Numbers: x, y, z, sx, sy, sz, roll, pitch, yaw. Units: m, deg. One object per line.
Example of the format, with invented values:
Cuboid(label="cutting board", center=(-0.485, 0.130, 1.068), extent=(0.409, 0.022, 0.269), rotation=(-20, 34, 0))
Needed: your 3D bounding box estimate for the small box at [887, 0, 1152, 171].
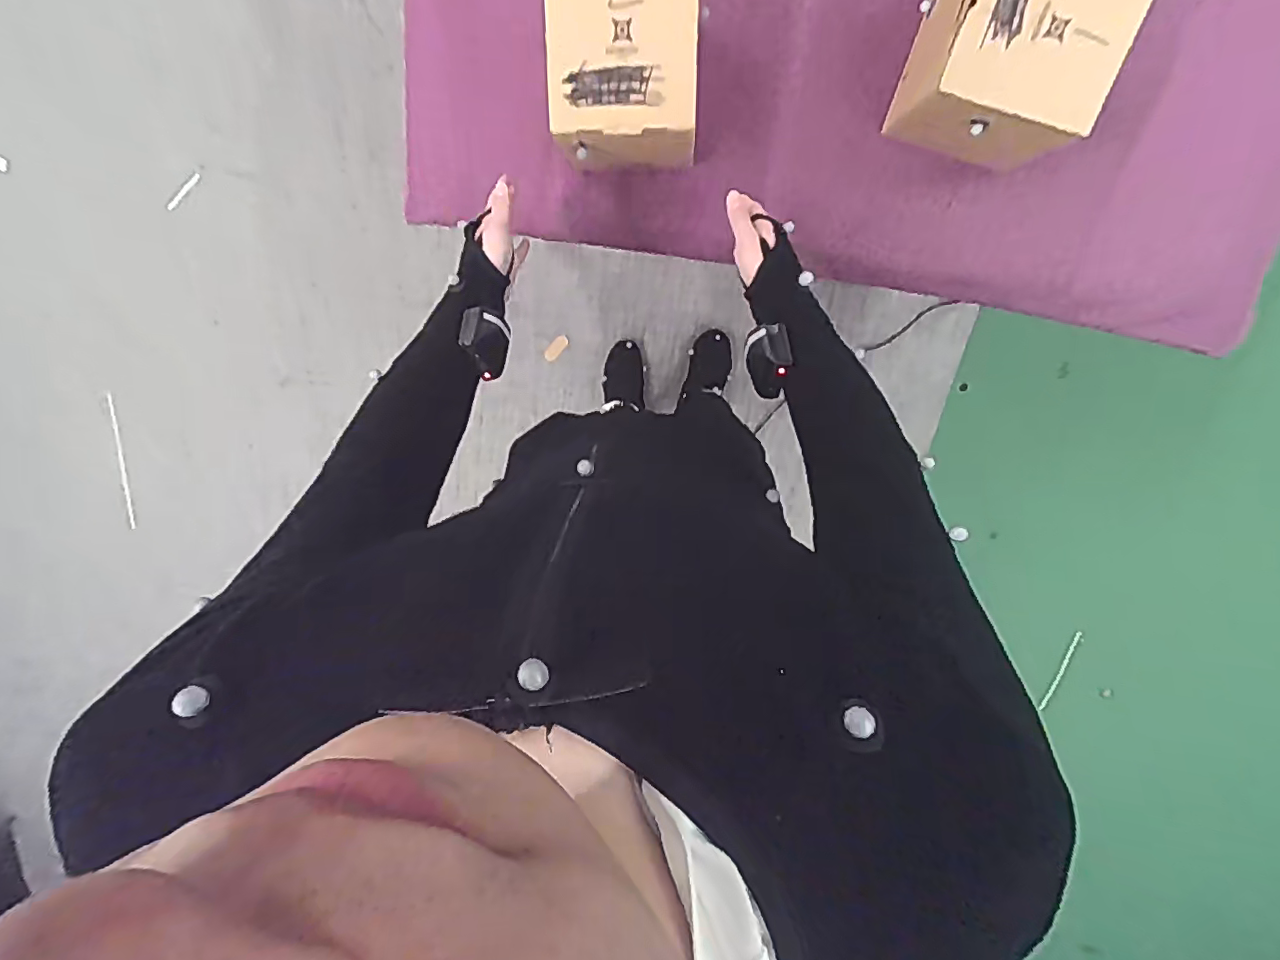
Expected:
Cuboid(label="small box", center=(0.424, -0.486, 0.632), extent=(0.179, 0.176, 0.168), rotation=(16, 109, -2))
